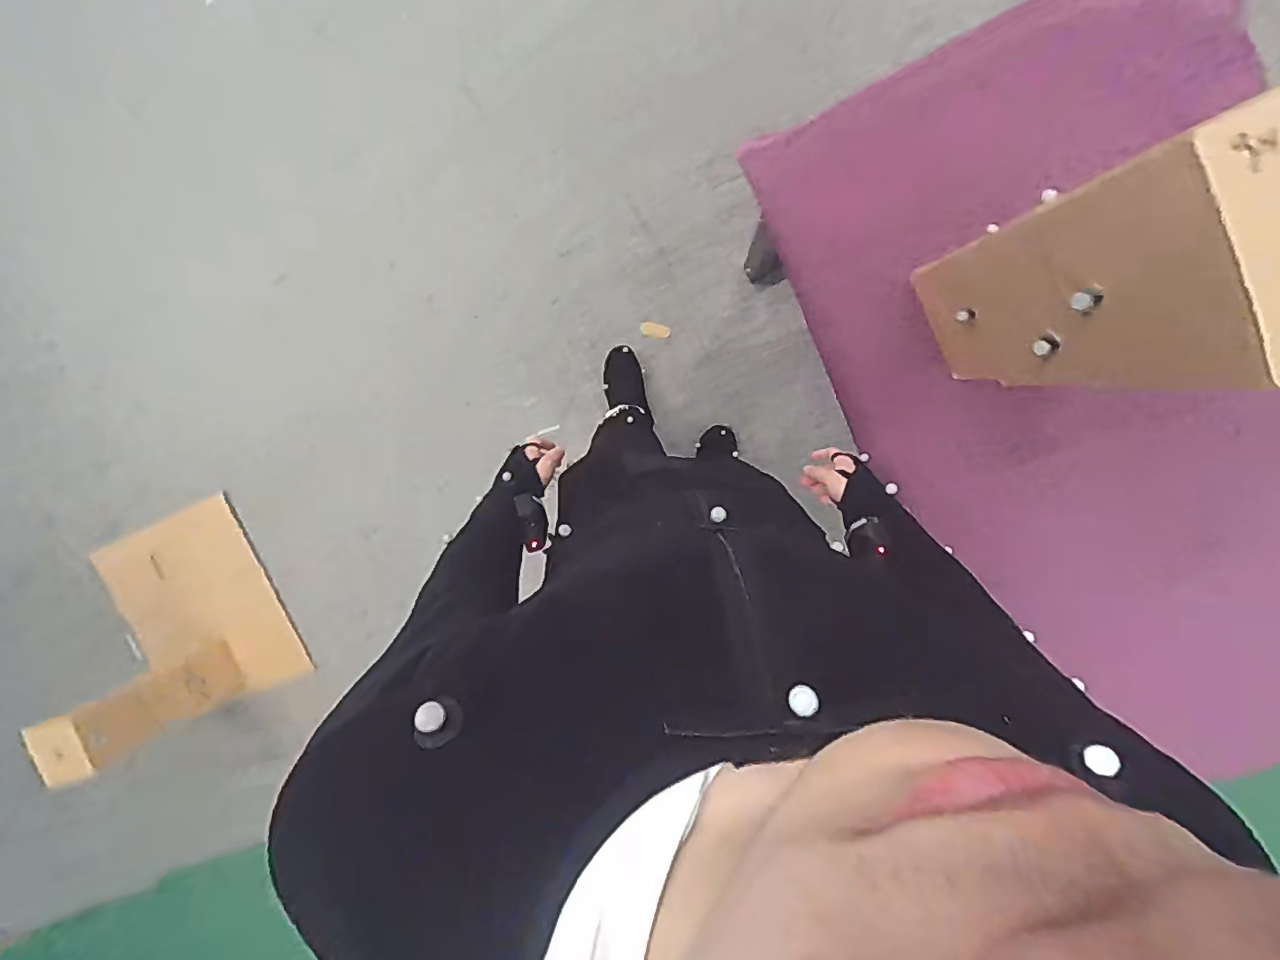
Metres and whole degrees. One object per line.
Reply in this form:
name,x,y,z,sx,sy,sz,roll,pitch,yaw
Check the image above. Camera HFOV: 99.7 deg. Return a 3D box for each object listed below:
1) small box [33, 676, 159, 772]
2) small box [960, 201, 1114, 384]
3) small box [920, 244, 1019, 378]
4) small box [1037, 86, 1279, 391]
small box,-1.542,0.693,1.547,0.168,0.176,0.179,-15,97,9
small box,0.474,-0.213,0.563,0.168,0.176,0.179,-23,96,11
small box,0.509,-0.250,0.721,0.168,0.176,0.179,-25,95,11
small box,0.450,-0.182,0.404,0.168,0.176,0.179,-24,97,11
